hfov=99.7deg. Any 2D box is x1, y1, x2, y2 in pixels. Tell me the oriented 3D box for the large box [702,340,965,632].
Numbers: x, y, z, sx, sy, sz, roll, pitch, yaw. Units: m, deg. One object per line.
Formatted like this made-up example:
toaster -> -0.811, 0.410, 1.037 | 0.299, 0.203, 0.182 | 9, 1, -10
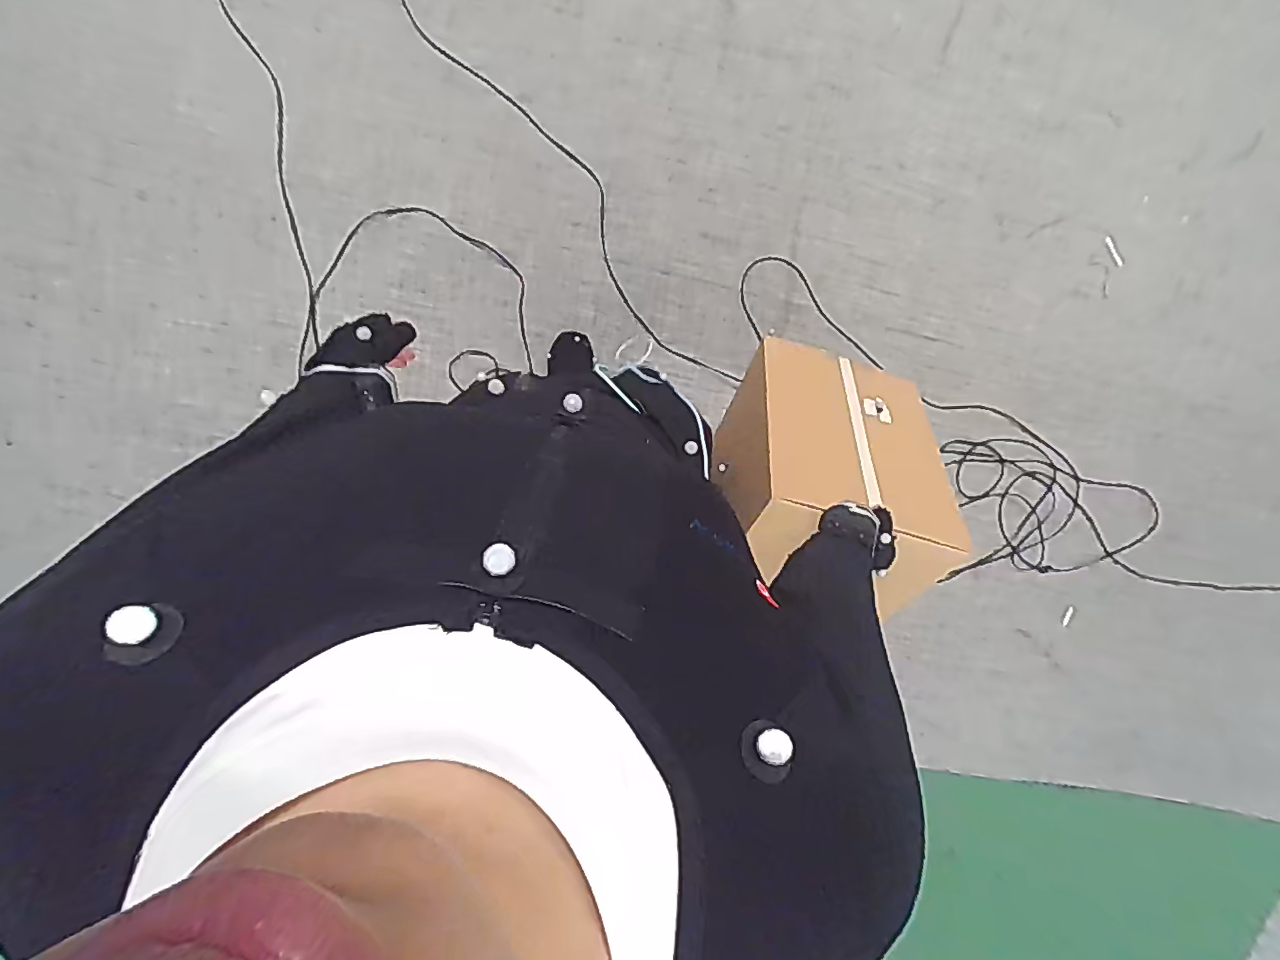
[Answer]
large box -> 0.314, 0.014, 1.010 | 0.320, 0.408, 0.320 | 16, 137, -7
